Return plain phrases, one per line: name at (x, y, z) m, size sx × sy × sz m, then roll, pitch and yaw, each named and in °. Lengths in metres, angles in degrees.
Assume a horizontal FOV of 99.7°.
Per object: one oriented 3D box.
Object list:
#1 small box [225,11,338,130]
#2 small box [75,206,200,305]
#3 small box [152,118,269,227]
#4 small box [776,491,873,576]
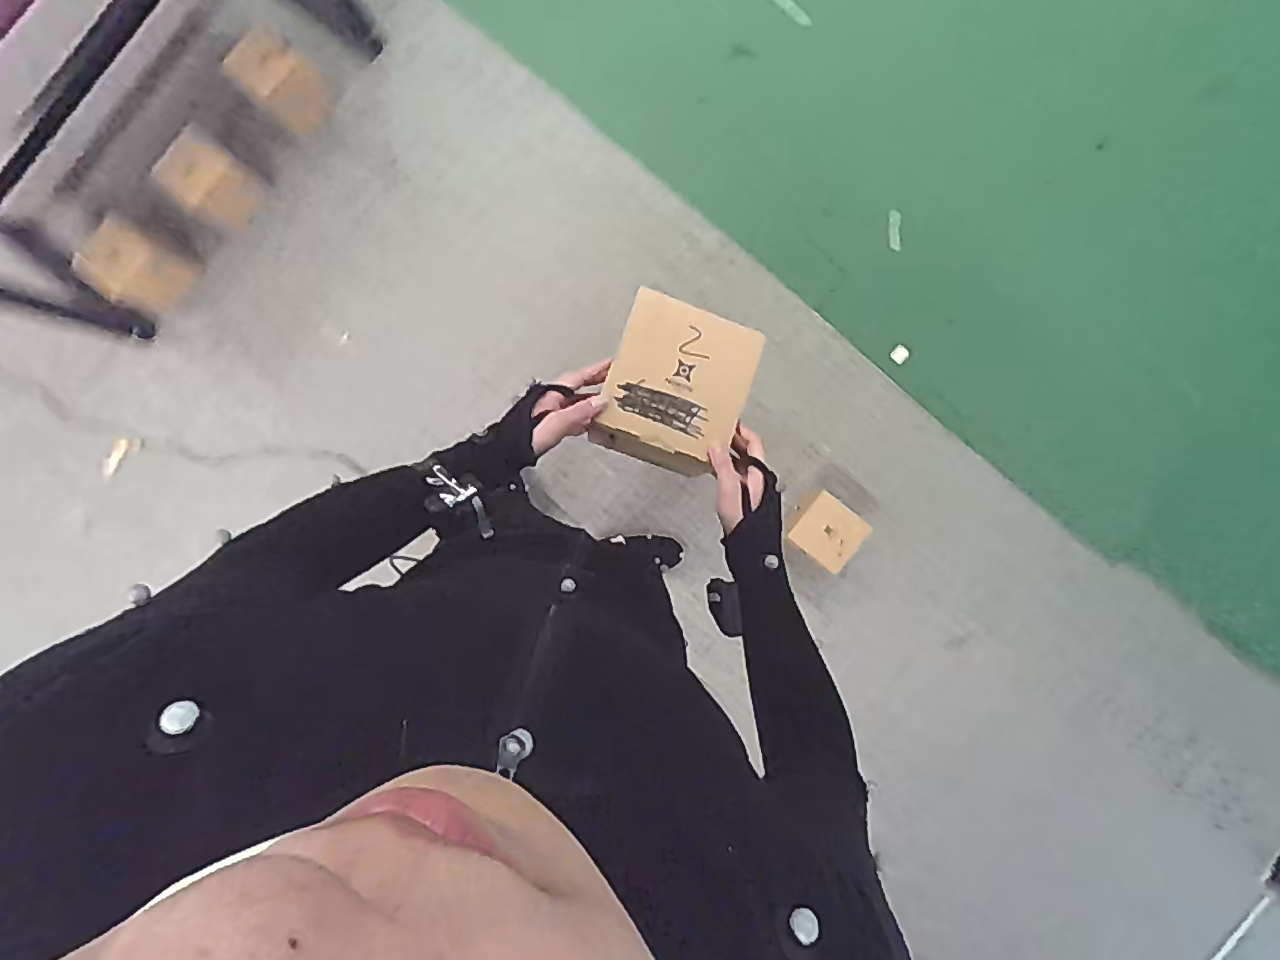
small box at (-1.022, -1.168, 1.560) m, size 0.168 × 0.176 × 0.179 m, roll 43°, pitch 91°, yaw 0°
small box at (-1.449, -0.642, 1.573) m, size 0.168 × 0.176 × 0.179 m, roll 40°, pitch 91°, yaw 1°
small box at (-1.228, -0.881, 1.567) m, size 0.168 × 0.176 × 0.179 m, roll 41°, pitch 92°, yaw 1°
small box at (0.514, 0.147, 1.539) m, size 0.179 × 0.176 × 0.168 m, roll 40°, pitch 91°, yaw 0°
